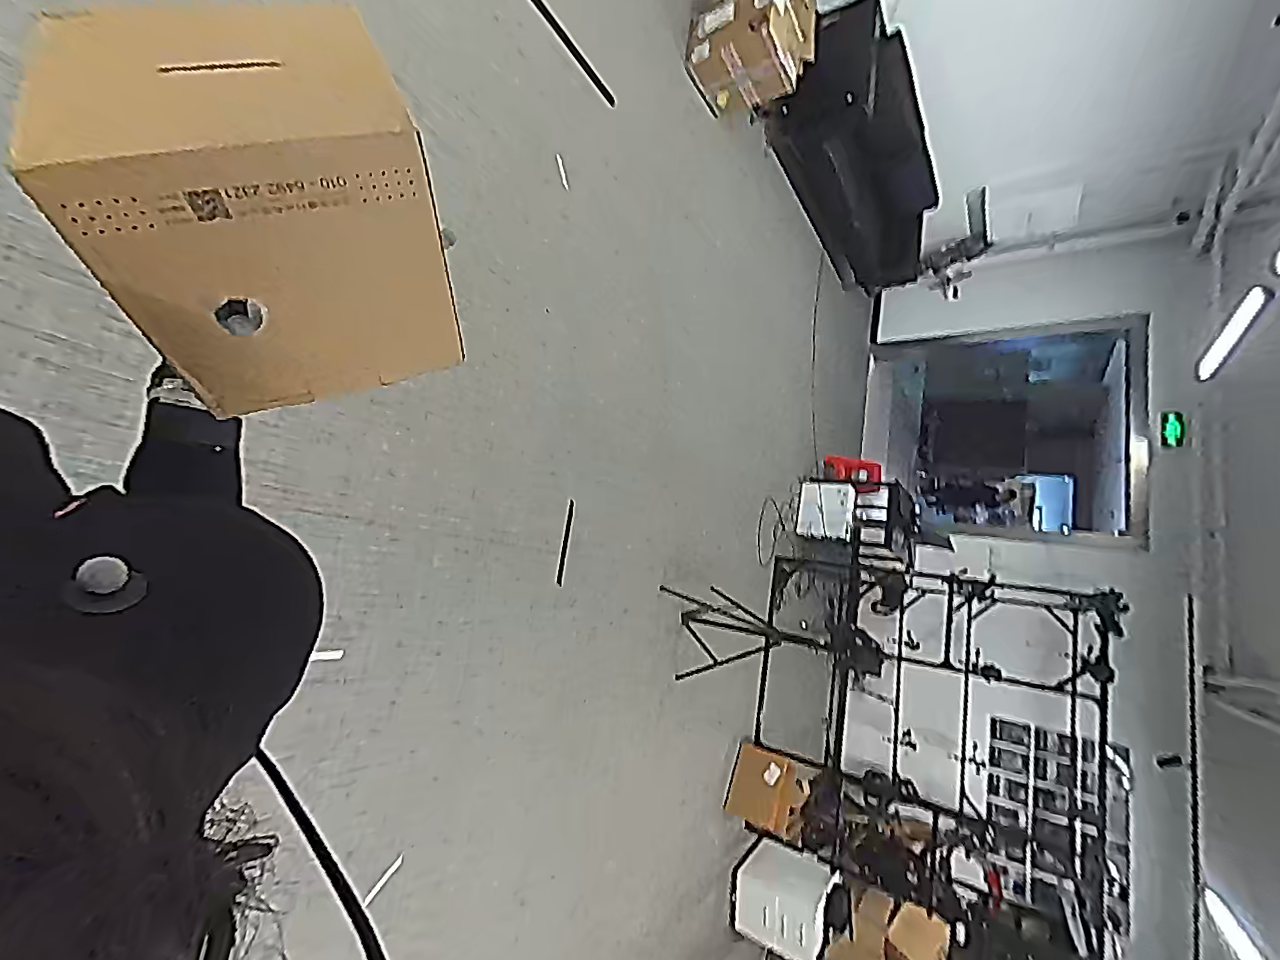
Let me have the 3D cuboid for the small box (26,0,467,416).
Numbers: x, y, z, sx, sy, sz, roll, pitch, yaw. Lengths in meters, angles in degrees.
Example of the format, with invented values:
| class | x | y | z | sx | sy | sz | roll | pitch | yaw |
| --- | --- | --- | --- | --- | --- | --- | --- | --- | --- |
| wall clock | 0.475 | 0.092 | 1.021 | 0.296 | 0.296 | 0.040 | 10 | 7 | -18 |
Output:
| class | x | y | z | sx | sy | sz | roll | pitch | yaw |
| --- | --- | --- | --- | --- | --- | --- | --- | --- | --- |
| small box | -0.224 | -0.175 | 0.344 | 0.168 | 0.179 | 0.176 | -17 | 151 | -21 |
